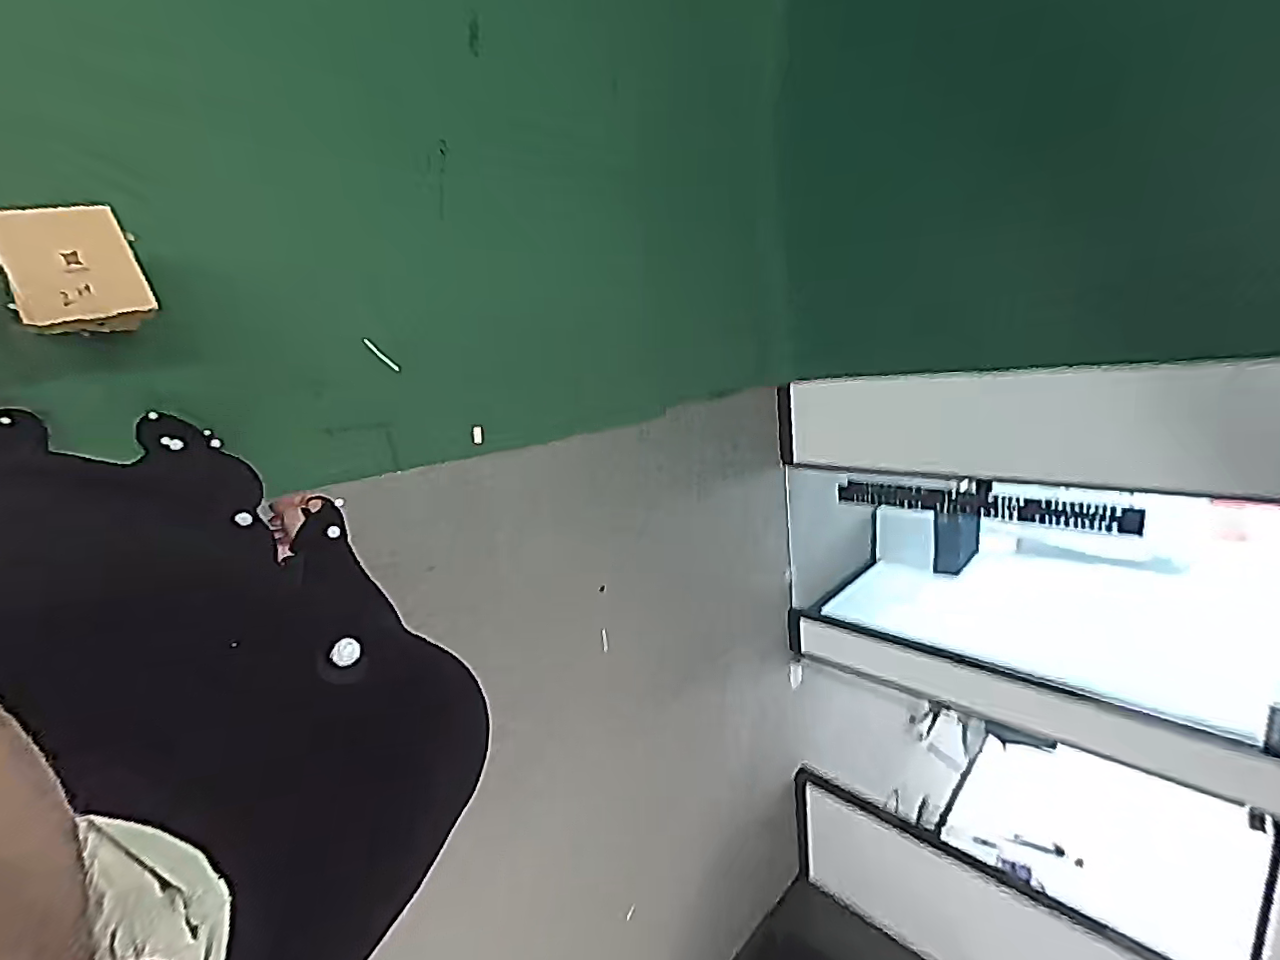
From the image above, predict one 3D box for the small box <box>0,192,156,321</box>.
[{"bbox_3d":[-1.000,-0.389,0.954,0.168,0.176,0.179,-28,116,-37],"label":"small box"}]
